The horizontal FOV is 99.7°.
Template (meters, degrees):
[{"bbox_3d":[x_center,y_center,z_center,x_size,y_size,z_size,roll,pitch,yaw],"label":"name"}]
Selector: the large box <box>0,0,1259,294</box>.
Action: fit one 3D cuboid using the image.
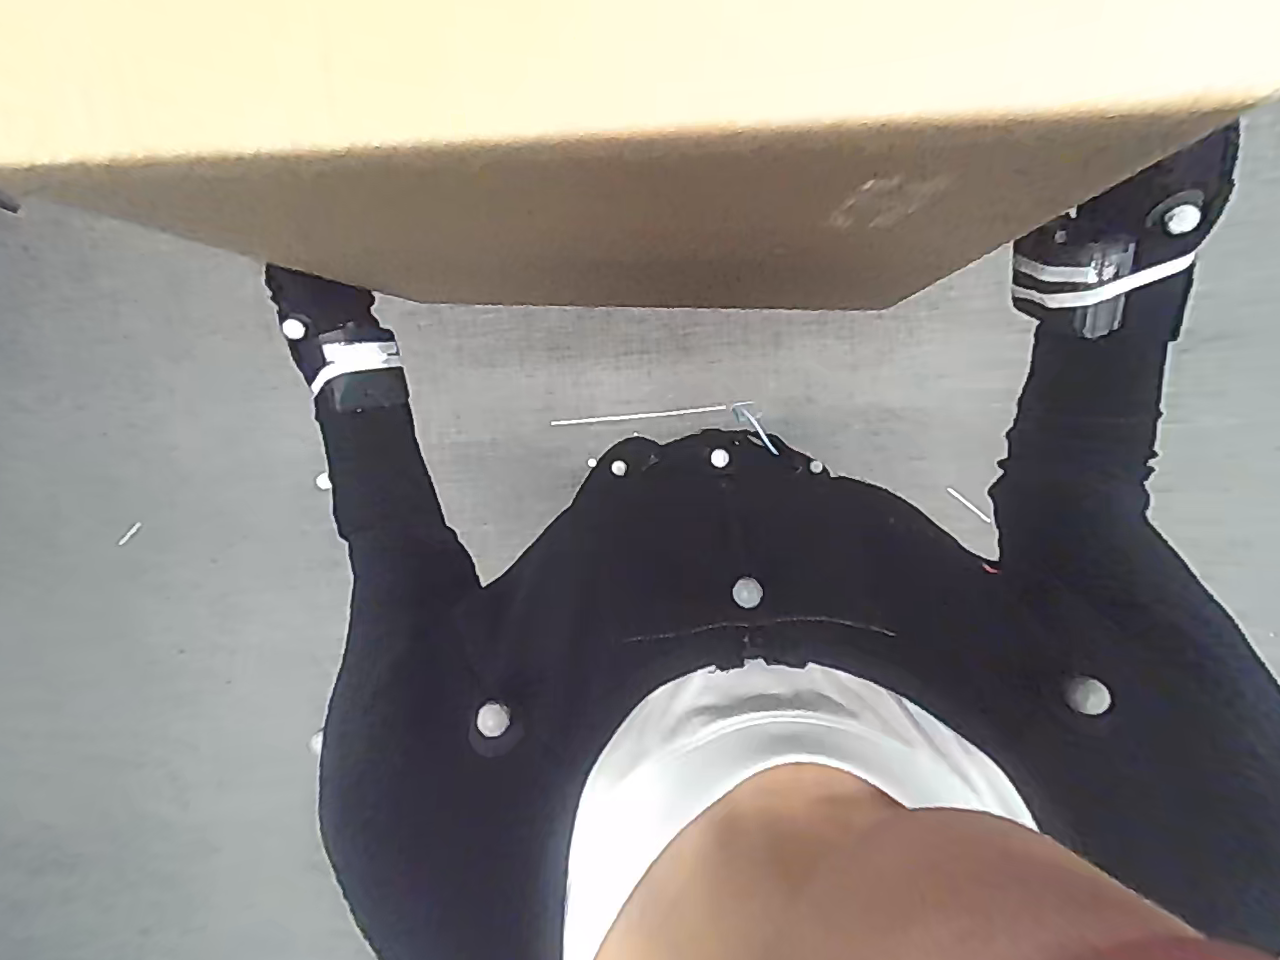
[{"bbox_3d":[-0.020,-0.283,0.281,0.408,0.320,0.320,4,101,9],"label":"large box"}]
